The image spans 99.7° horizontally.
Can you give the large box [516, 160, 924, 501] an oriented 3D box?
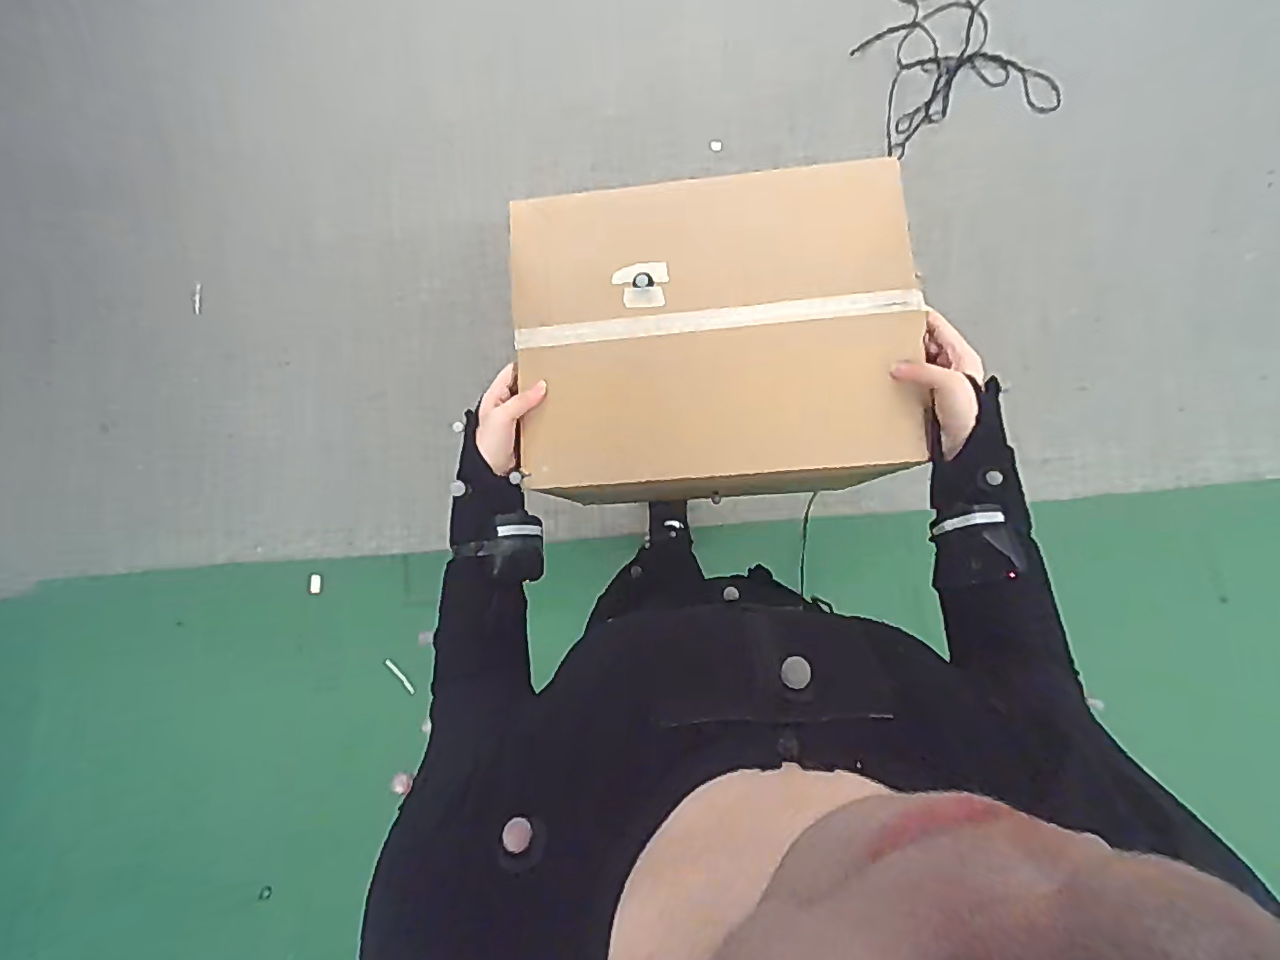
[{"bbox_3d":[0.089,-0.148,0.709,0.408,0.320,0.320,-5,83,6],"label":"large box"}]
